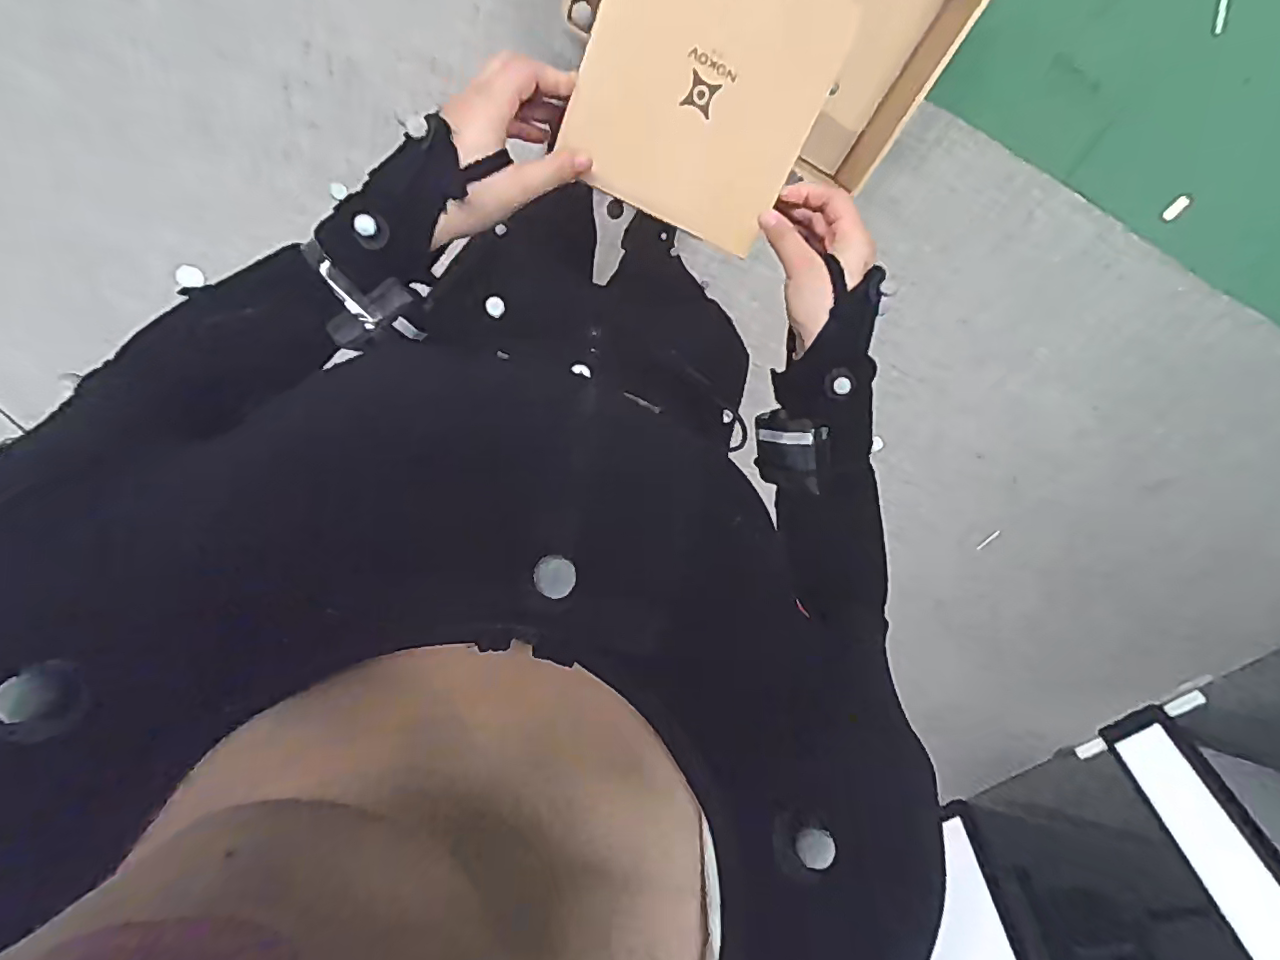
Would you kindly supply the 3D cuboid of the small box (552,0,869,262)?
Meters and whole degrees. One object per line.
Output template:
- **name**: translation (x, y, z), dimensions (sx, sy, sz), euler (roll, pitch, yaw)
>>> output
- **small box**: translation (0.038, -0.304, 0.438), dimensions (0.168, 0.176, 0.179), euler (19, 114, -17)
